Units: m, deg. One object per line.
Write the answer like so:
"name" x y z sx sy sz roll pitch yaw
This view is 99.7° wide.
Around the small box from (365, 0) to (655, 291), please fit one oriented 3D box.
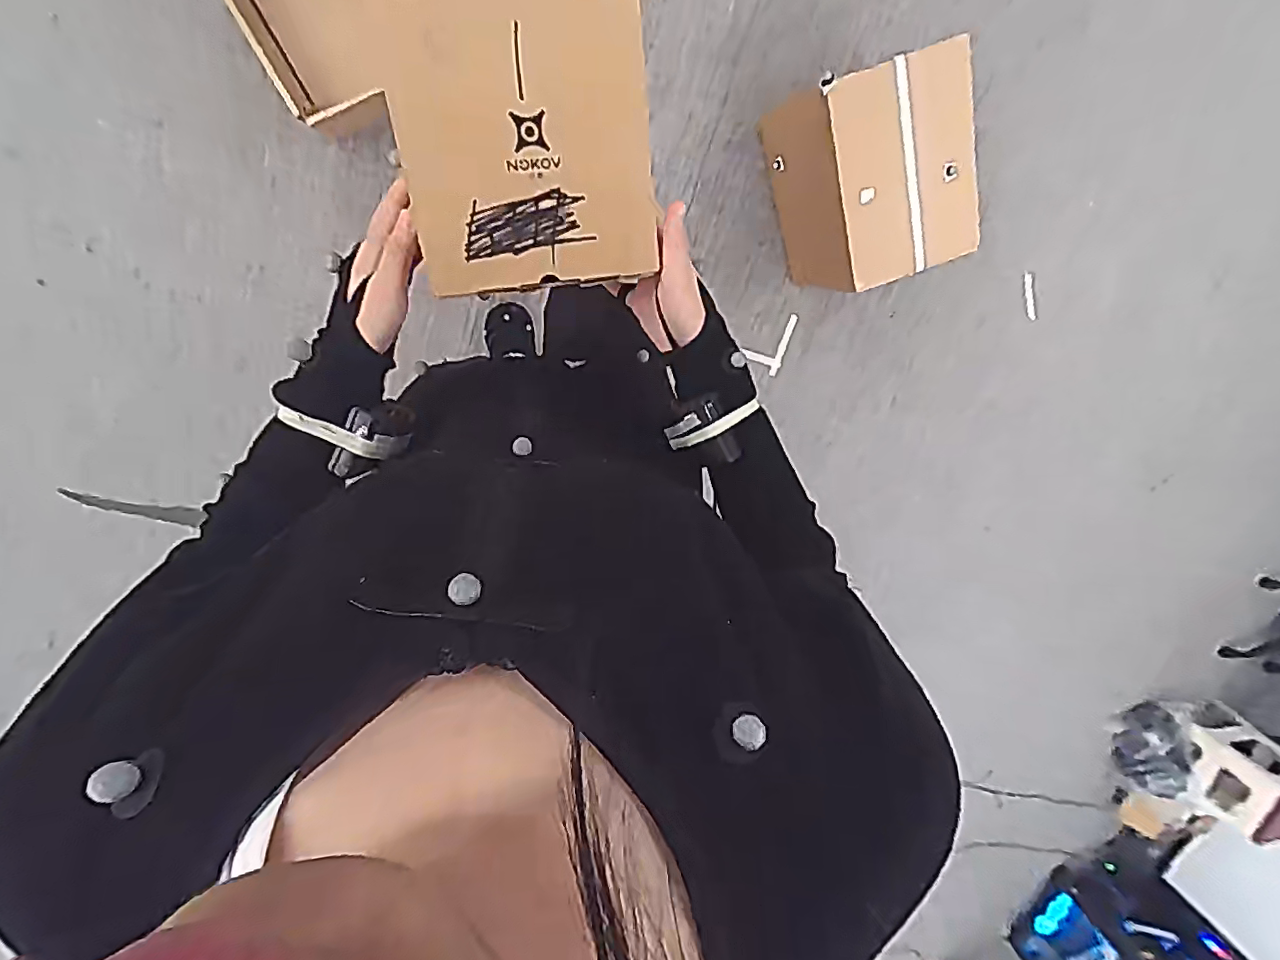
"small box" -0.093 -0.253 0.426 0.168 0.176 0.179 -11 113 -11
